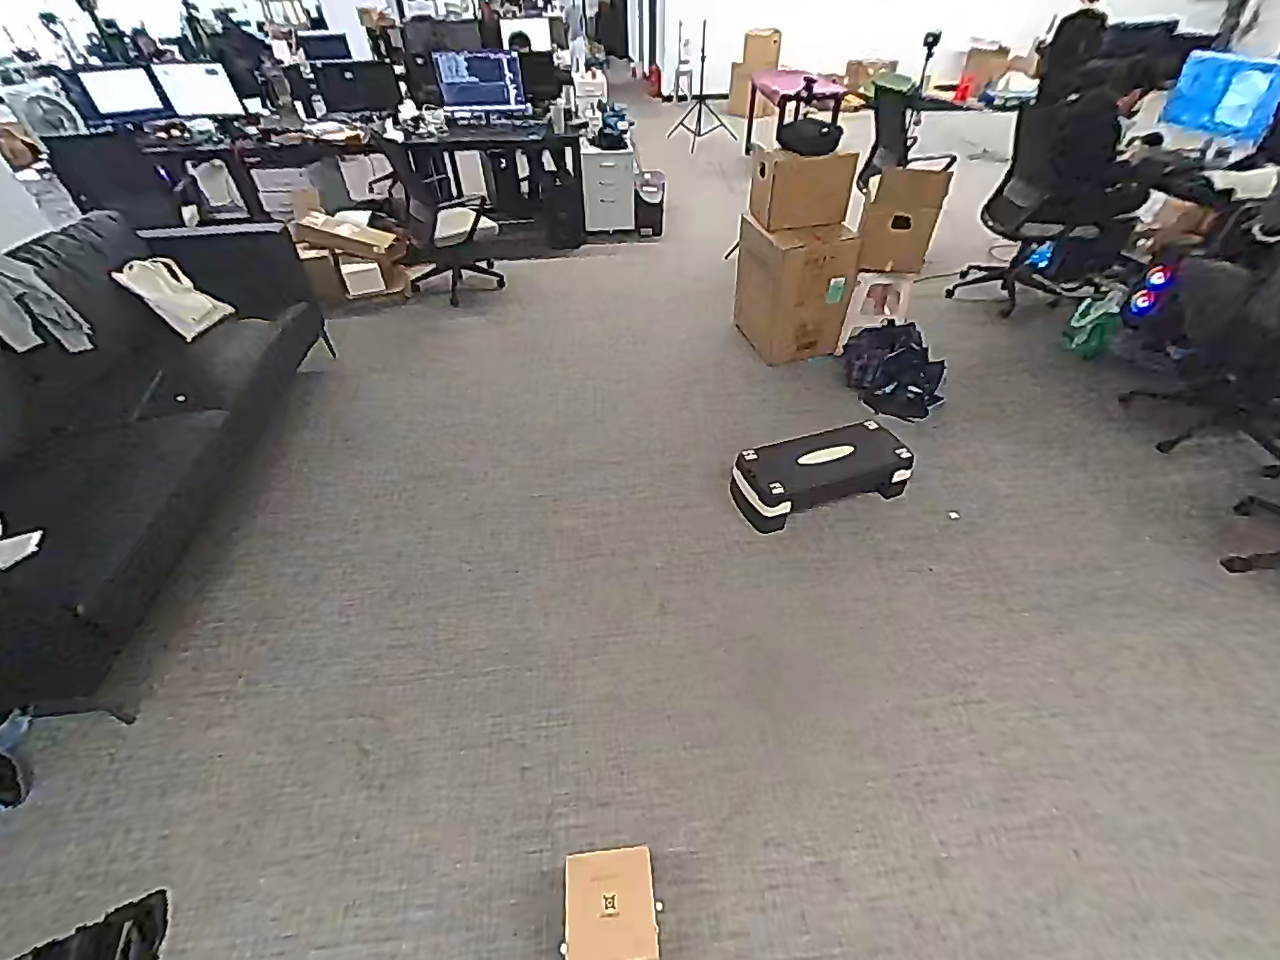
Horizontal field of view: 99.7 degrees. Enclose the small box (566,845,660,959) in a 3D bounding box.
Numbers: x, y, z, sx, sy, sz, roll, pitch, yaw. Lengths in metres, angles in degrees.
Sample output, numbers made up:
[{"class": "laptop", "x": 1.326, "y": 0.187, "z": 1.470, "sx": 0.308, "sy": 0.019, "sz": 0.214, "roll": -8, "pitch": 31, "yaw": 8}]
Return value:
[{"class": "small box", "x": -0.052, "y": 0.837, "z": 1.044, "sx": 0.168, "sy": 0.176, "sz": 0.179, "roll": -4, "pitch": 42, "yaw": -4}]
